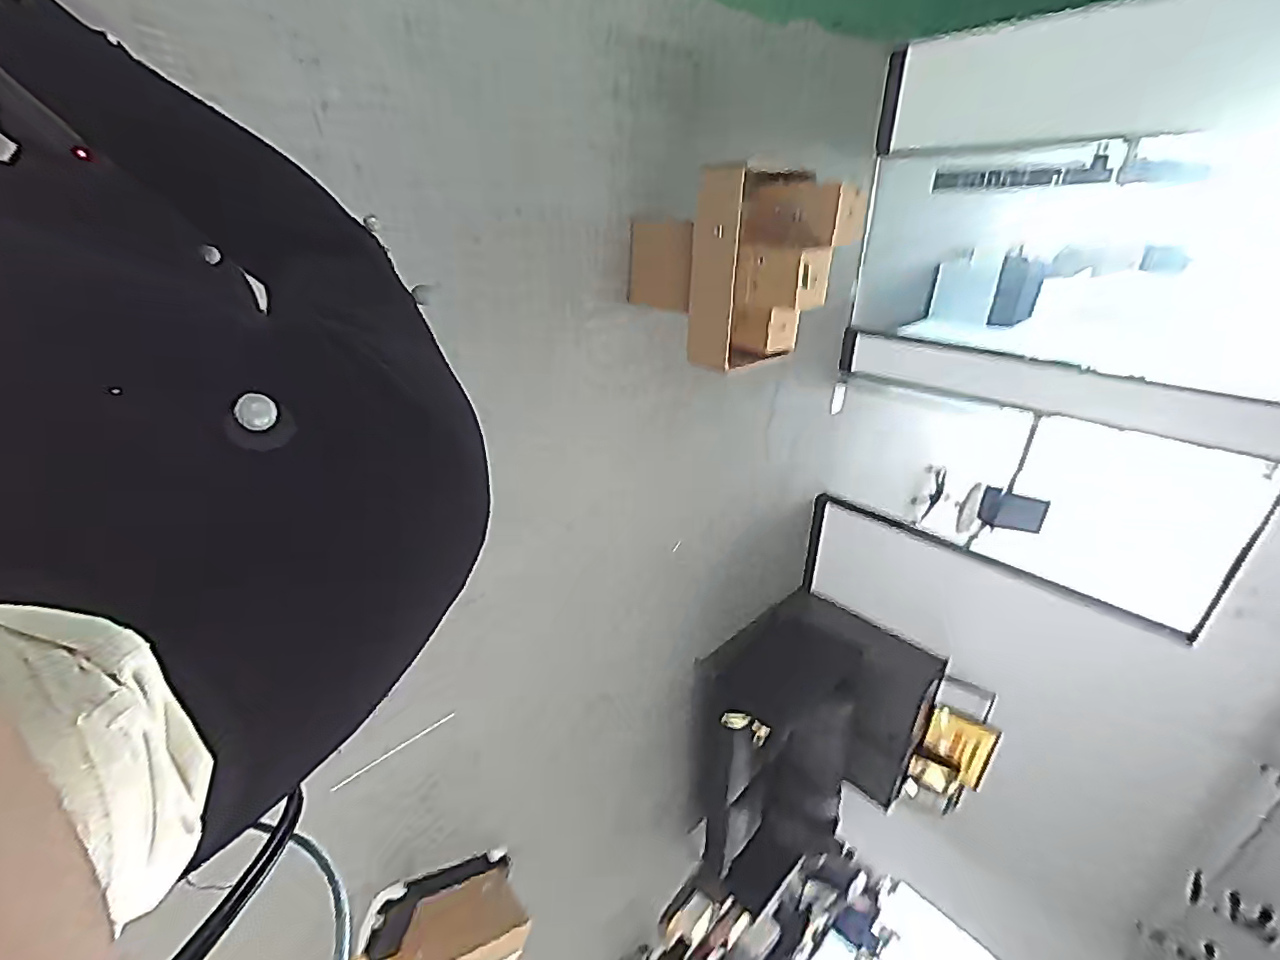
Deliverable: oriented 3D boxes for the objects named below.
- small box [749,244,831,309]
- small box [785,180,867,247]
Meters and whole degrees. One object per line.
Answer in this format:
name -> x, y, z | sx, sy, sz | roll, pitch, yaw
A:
small box -> 0.454, -0.626, 1.655 | 0.179, 0.176, 0.168 | -24, 126, -38
small box -> 0.570, -0.827, 1.677 | 0.168, 0.176, 0.179 | -22, 125, -38
